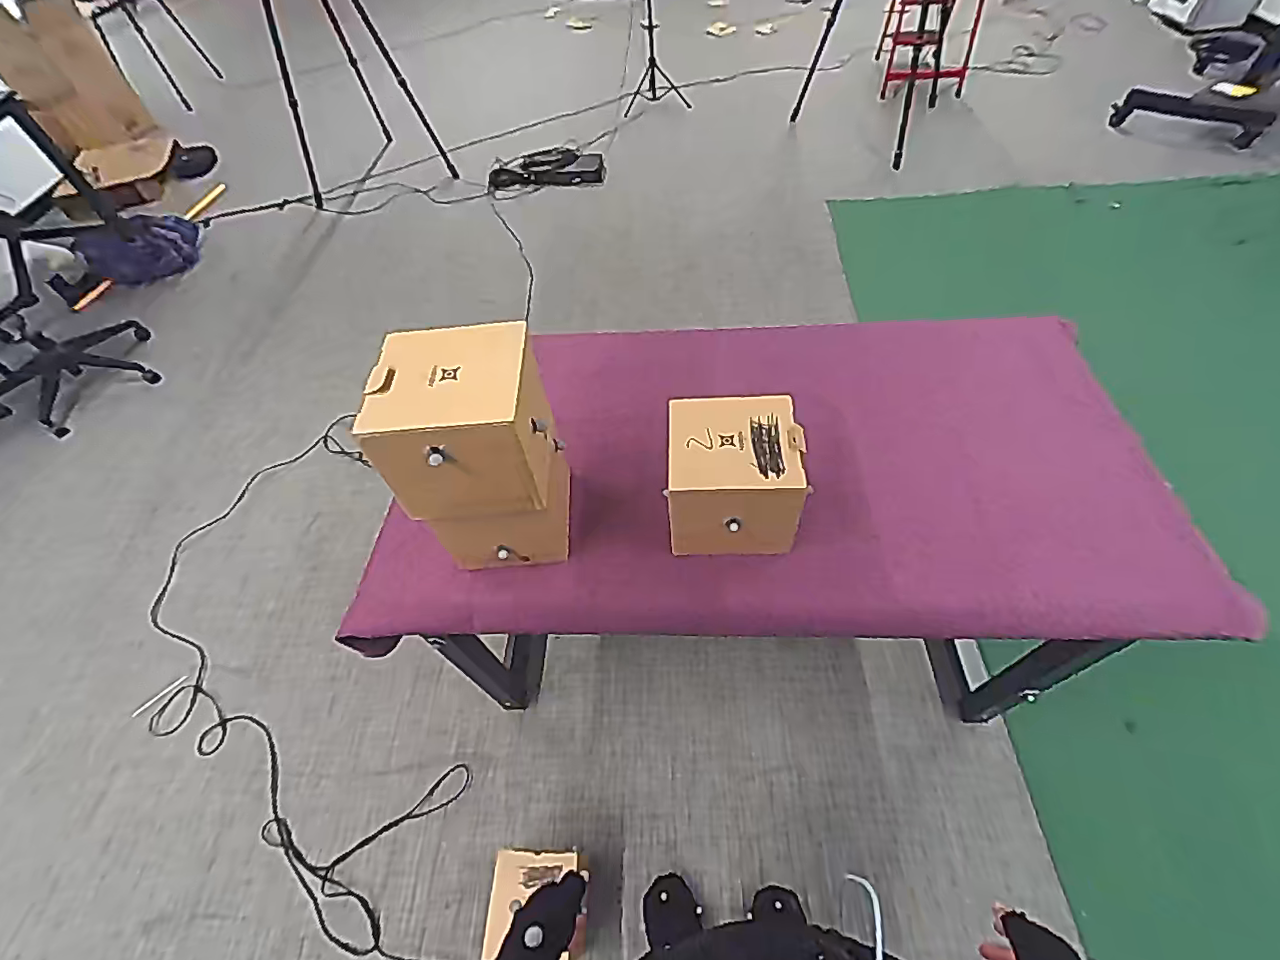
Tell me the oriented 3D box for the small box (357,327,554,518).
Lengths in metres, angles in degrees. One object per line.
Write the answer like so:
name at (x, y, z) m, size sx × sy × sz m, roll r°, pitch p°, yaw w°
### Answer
small box at (-0.209, -0.067, 0.673) m, size 0.179 × 0.176 × 0.168 m, roll -4°, pitch 54°, yaw 2°

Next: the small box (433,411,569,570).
small box at (-0.203, 0.016, 0.814) m, size 0.168 × 0.176 × 0.179 m, roll -4°, pitch 53°, yaw 1°
